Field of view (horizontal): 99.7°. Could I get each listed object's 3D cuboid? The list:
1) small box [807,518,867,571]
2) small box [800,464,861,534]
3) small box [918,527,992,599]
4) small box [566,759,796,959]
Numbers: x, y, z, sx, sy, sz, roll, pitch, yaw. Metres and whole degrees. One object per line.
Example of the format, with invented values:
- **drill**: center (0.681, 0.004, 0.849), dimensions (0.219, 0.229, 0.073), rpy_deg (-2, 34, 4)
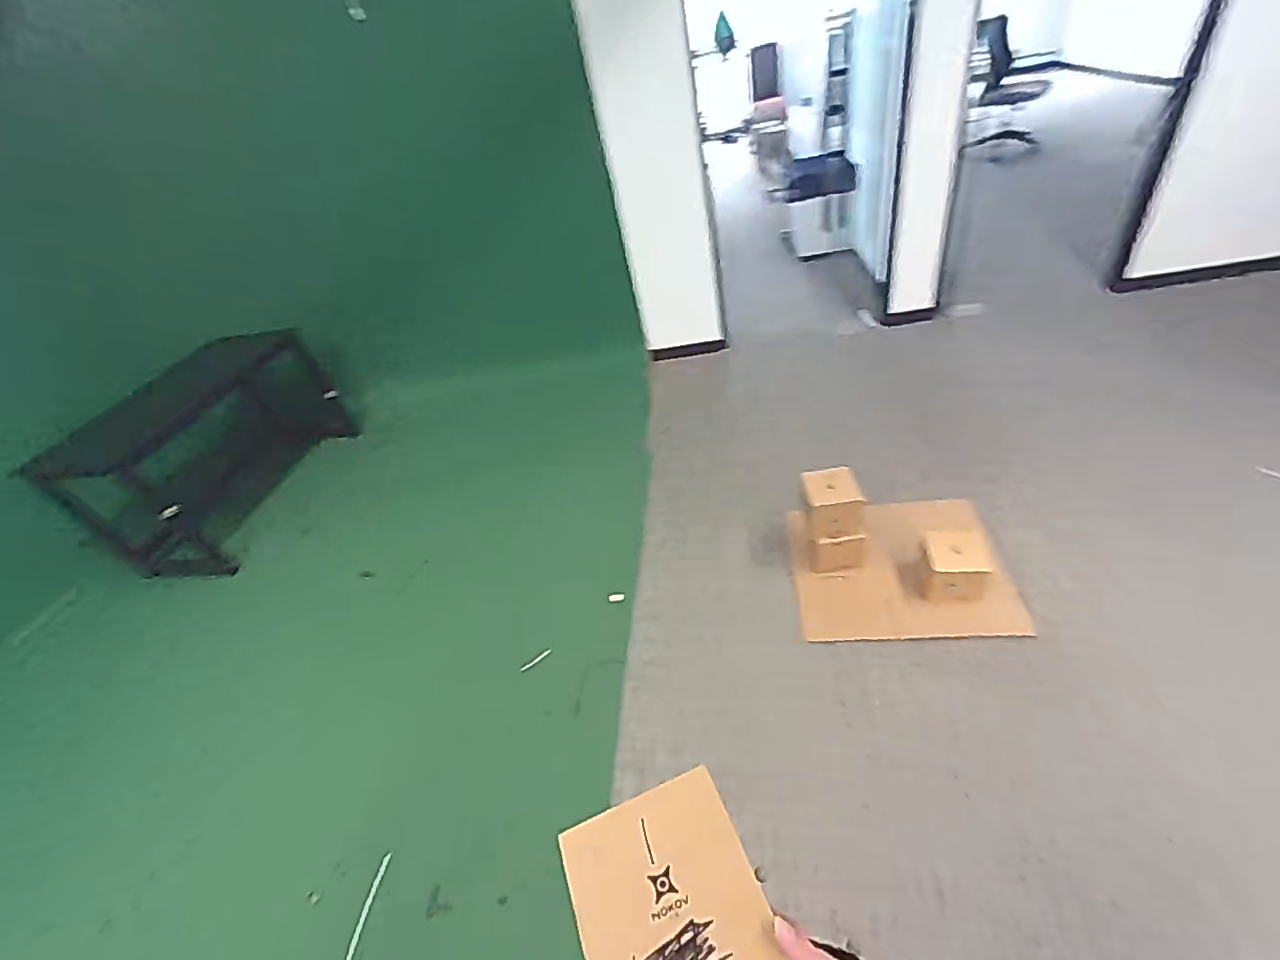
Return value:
- **small box**: center (0.708, 0.204, 1.967), dimensions (0.168, 0.176, 0.179), rpy_deg (-10, 39, 7)
- **small box**: center (0.658, 0.073, 1.877), dimensions (0.168, 0.176, 0.179), rpy_deg (-8, 39, 7)
- **small box**: center (1.027, 0.277, 1.777), dimensions (0.168, 0.176, 0.179), rpy_deg (-4, 40, 14)
- **small box**: center (0.043, 0.424, 0.542), dimensions (0.168, 0.176, 0.179), rpy_deg (-20, 42, -7)
